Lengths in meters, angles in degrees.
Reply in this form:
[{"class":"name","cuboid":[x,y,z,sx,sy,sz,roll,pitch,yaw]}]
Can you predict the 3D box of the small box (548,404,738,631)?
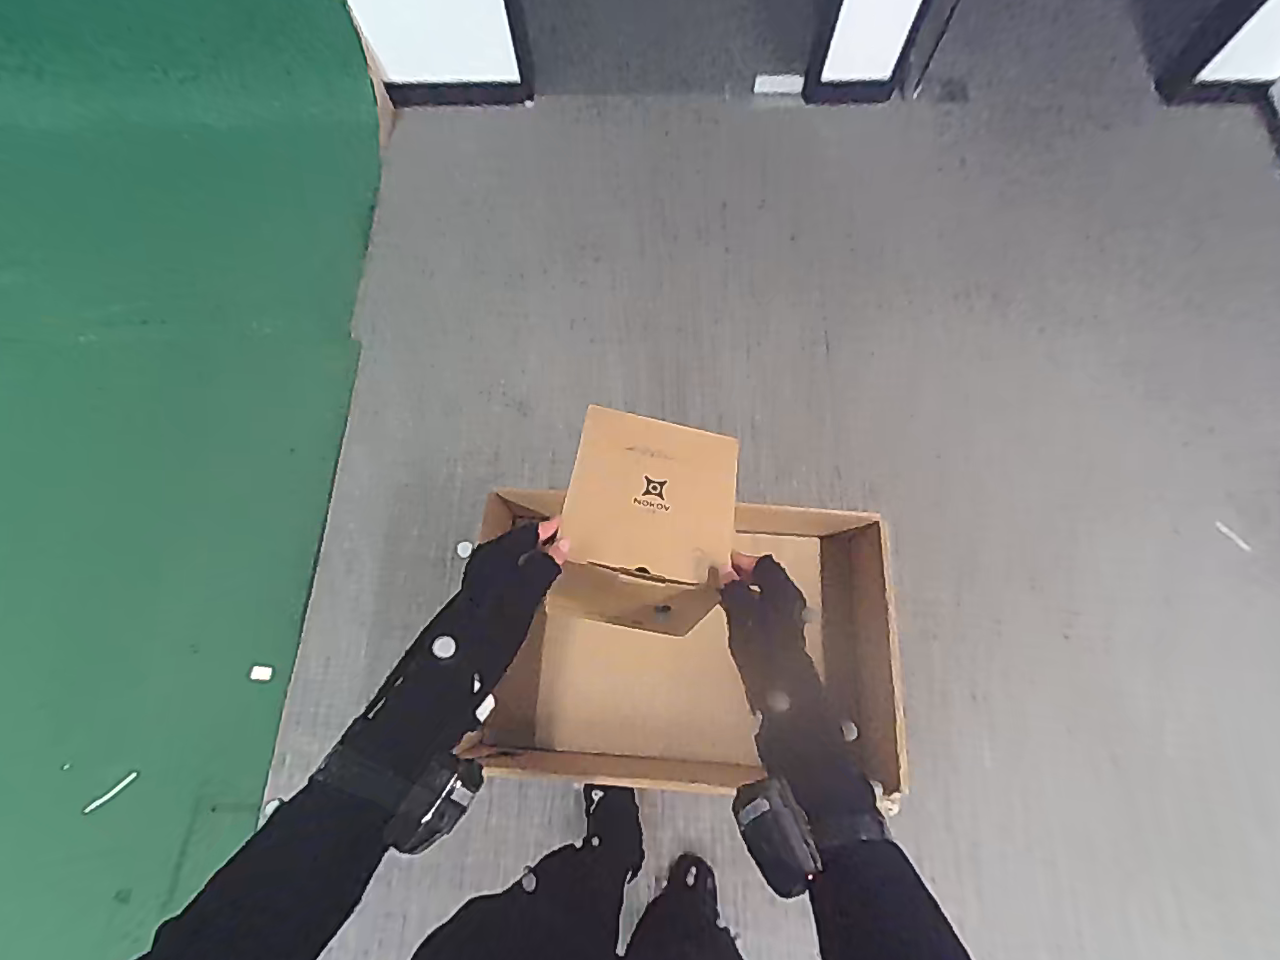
[{"class":"small box","cuboid":[-0.002,0.050,0.588,0.168,0.176,0.179,12,58,-6]}]
